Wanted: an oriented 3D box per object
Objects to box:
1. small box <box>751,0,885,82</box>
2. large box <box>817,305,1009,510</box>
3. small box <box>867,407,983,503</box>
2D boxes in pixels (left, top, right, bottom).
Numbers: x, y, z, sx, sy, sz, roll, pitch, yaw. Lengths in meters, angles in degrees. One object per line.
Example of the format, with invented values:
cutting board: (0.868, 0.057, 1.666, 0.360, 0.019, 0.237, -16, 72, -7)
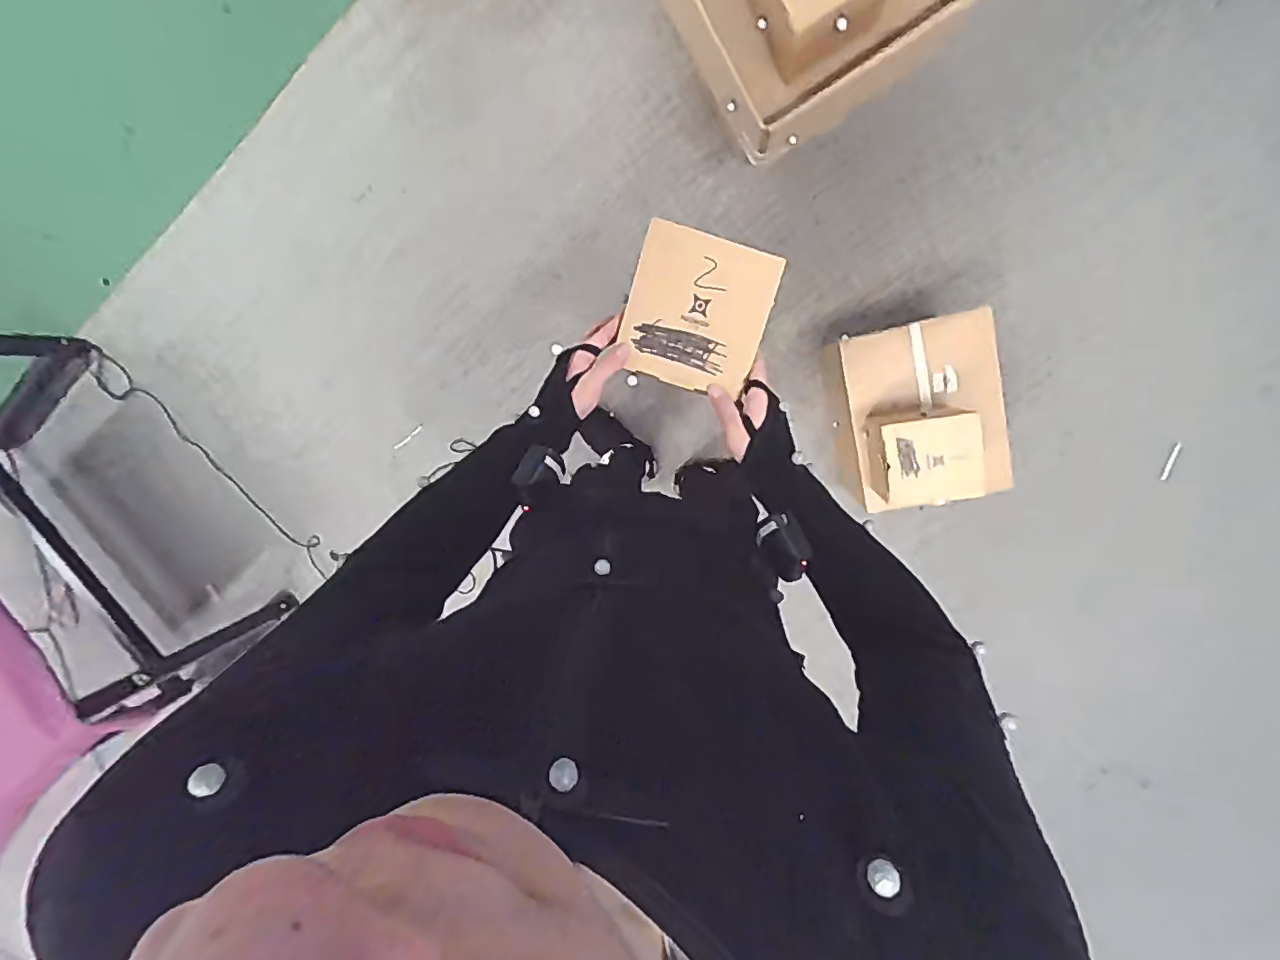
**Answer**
small box: (0.298, -0.827, 0.902, 0.179, 0.176, 0.168, -27, 96, 15)
large box: (0.649, -0.176, 1.342, 0.320, 0.320, 0.408, -12, 98, 11)
small box: (0.580, -0.056, 1.123, 0.179, 0.176, 0.168, -7, 100, 12)
